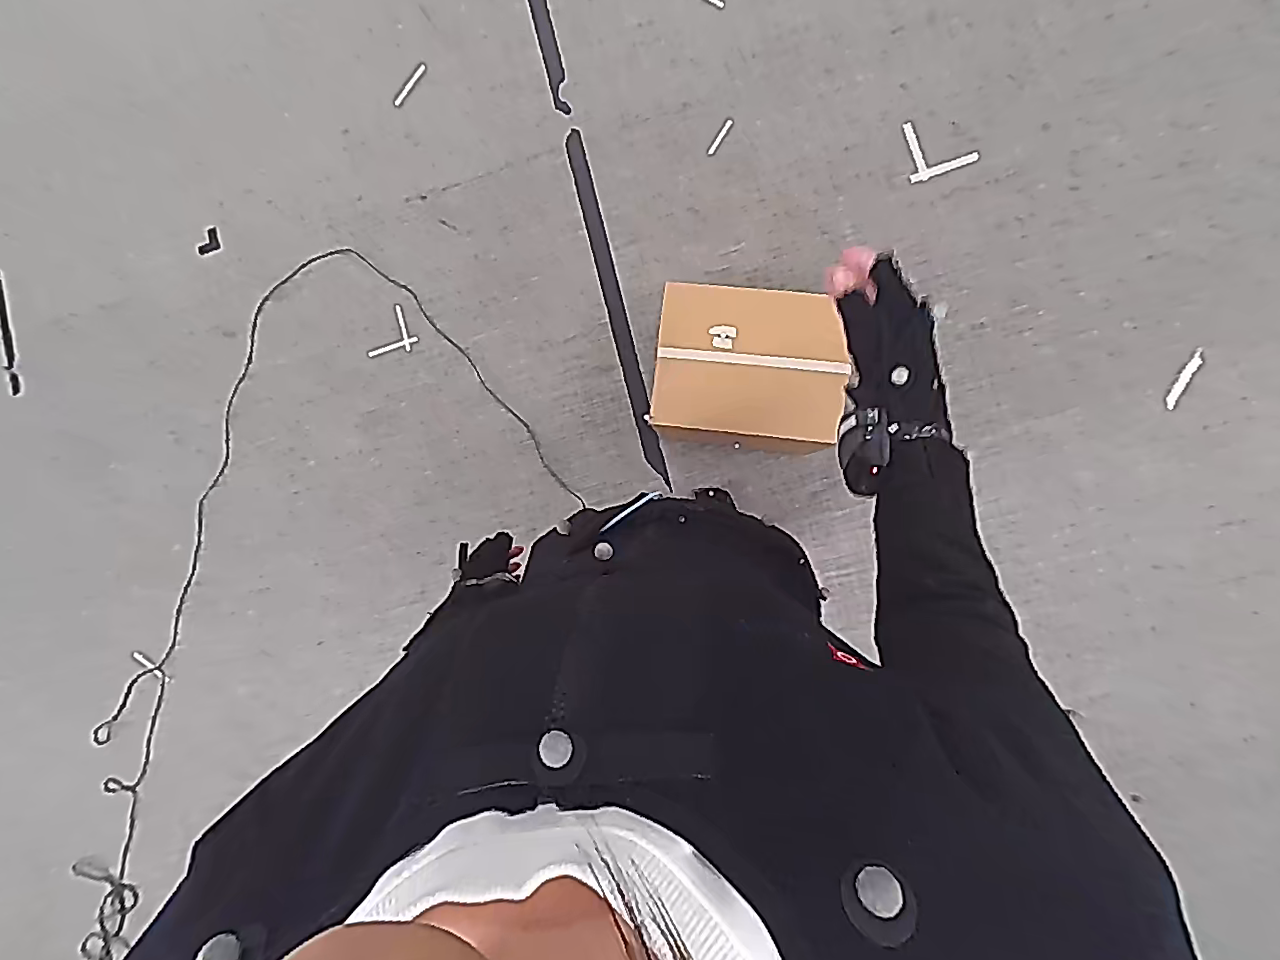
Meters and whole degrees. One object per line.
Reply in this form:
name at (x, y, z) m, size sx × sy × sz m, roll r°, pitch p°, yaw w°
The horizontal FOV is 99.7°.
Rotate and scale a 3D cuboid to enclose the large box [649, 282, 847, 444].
large box at (0.248, -0.263, 1.311) m, size 0.408 × 0.320 × 0.320 m, roll 6°, pitch 89°, yaw 6°
